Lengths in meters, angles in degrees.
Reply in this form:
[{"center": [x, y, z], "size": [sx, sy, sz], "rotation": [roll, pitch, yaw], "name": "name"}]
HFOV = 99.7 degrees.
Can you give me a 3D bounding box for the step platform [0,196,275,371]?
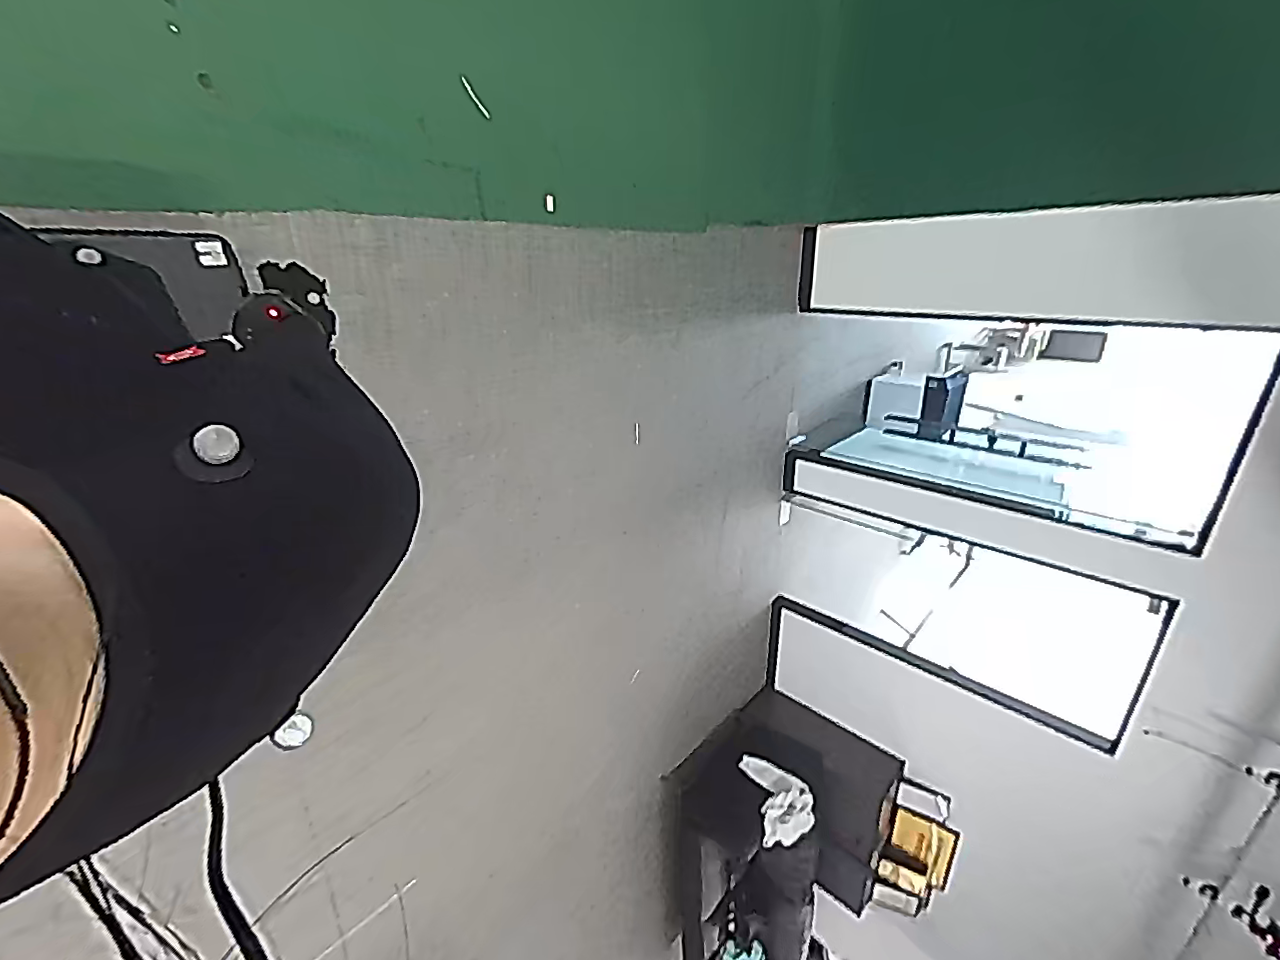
[{"center": [-1.039, -0.323, 0.904], "size": [0.684, 0.204, 0.286], "rotation": [-22, 121, -41], "name": "step platform"}]
